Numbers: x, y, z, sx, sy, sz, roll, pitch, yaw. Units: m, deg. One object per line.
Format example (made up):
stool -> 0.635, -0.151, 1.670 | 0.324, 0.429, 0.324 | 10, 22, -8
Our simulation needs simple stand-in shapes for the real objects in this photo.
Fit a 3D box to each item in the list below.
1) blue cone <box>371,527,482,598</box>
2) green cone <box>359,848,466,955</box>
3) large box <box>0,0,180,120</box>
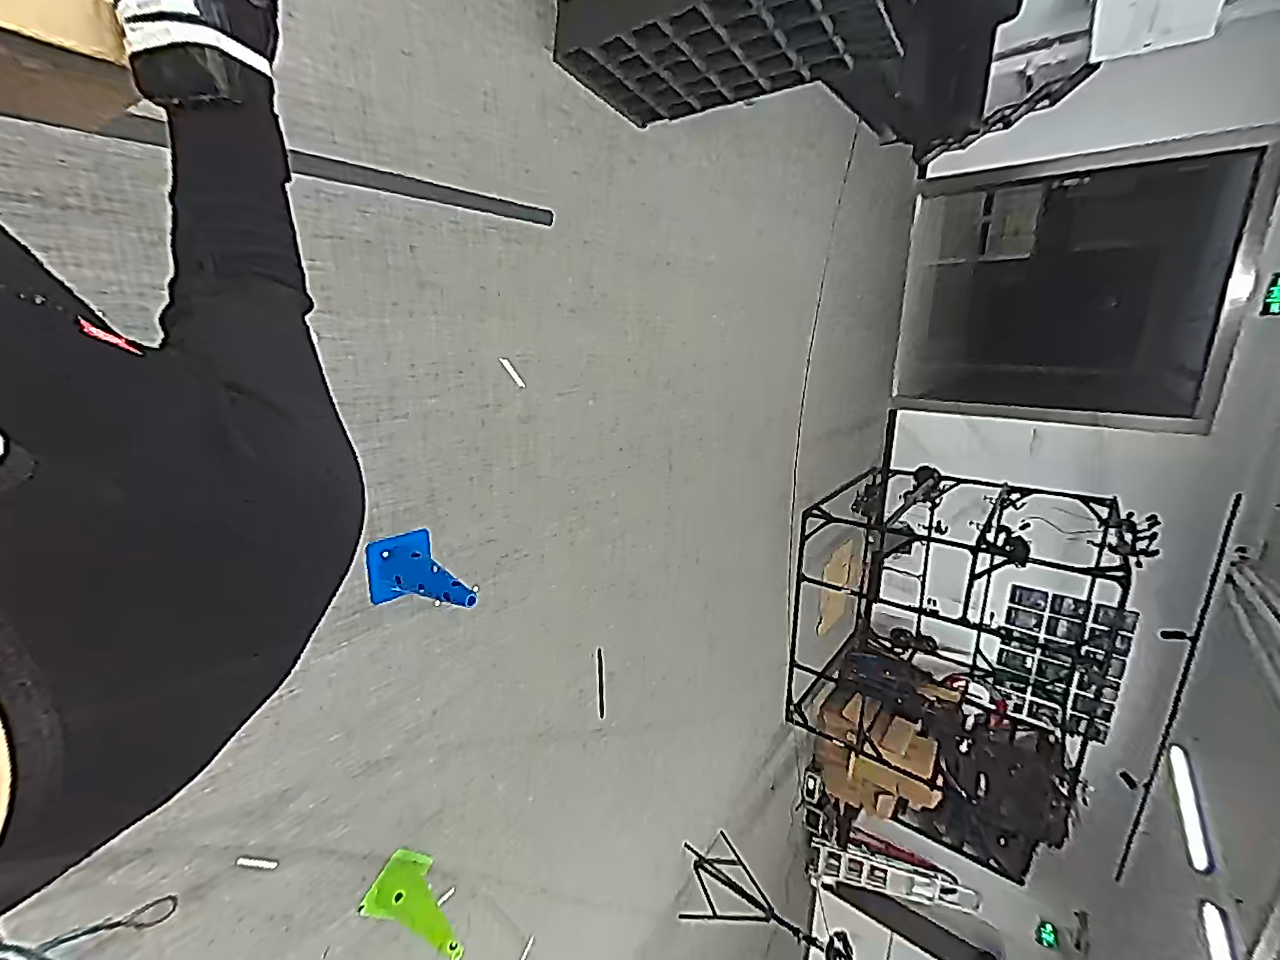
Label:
blue cone -> -0.599, 0.276, 1.564 | 0.192, 0.380, 0.193 | -15, 111, -52
green cone -> -0.686, 1.392, 1.733 | 0.202, 0.368, 0.200 | -58, 140, -27
large box -> -0.547, -0.435, 0.268 | 0.408, 0.320, 0.320 | -15, 117, -51
